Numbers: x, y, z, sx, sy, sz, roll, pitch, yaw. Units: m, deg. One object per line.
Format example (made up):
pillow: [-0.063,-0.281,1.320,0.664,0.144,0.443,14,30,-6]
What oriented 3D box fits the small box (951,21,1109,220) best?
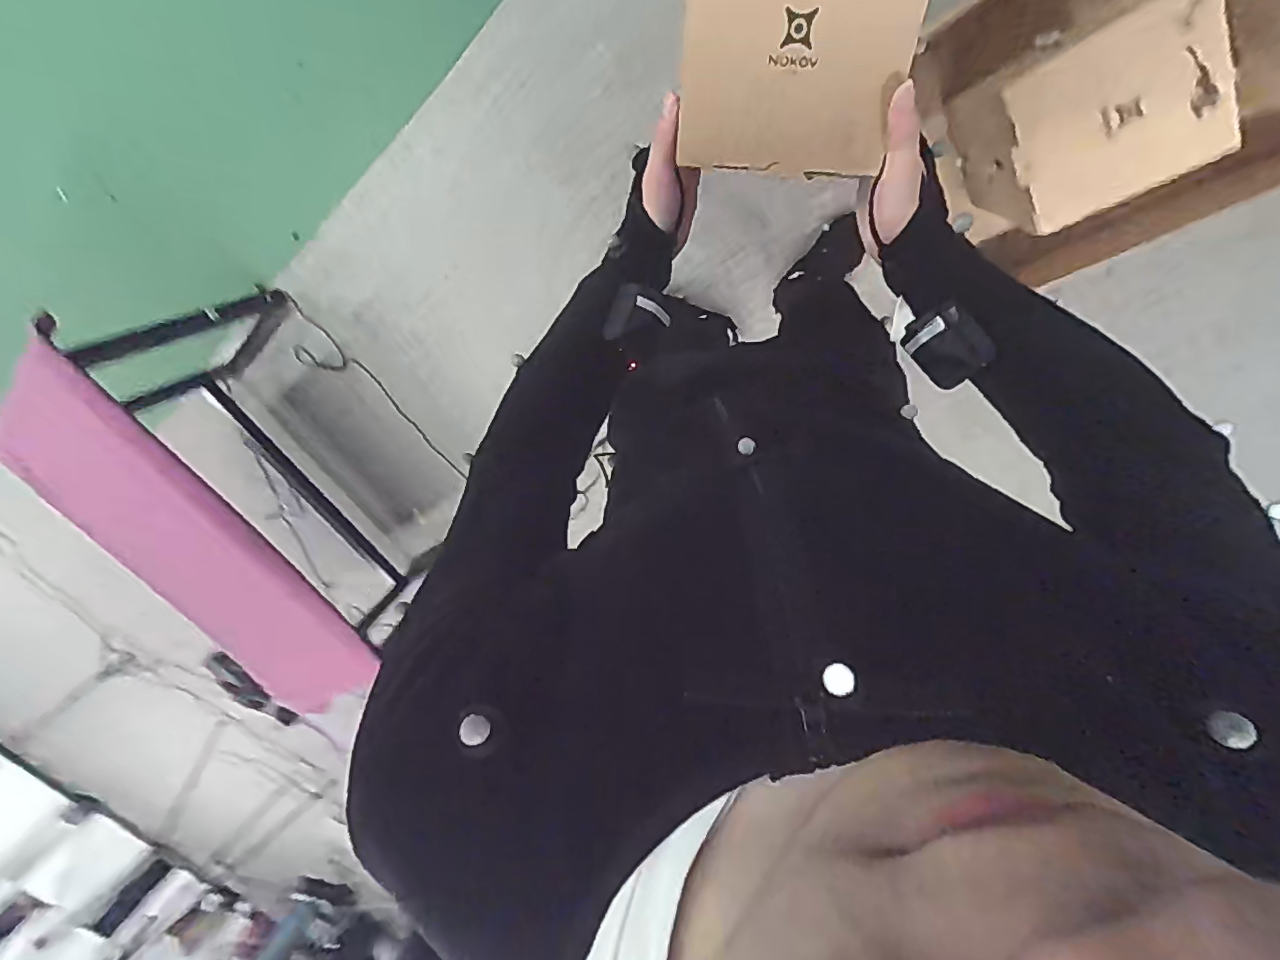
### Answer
small box: [0.560,-0.491,0.746,0.179,0.176,0.168,-20,112,28]

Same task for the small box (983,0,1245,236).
small box: [0.513,-0.407,0.614,0.179,0.176,0.168,-20,113,29]
